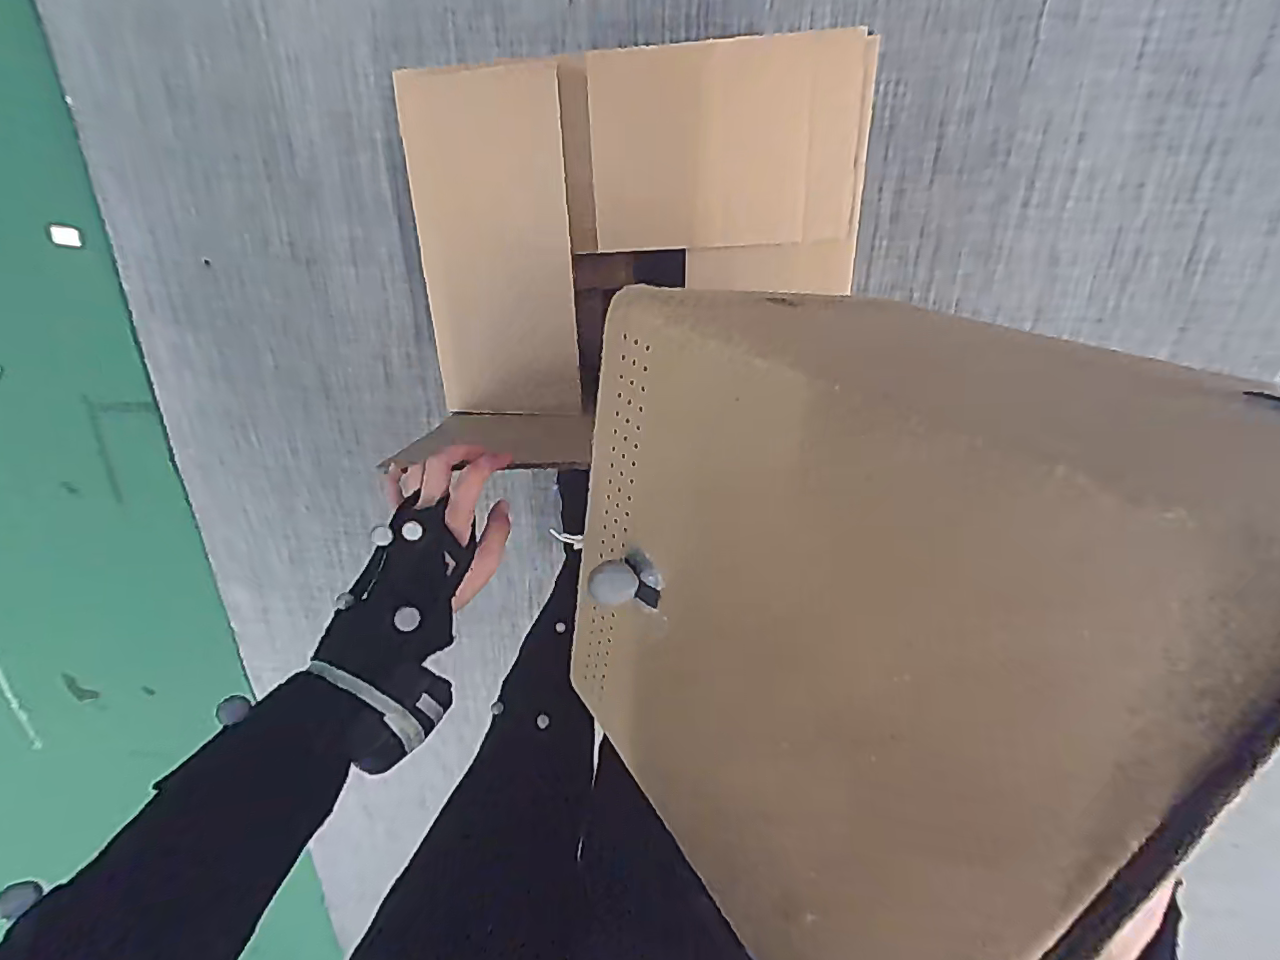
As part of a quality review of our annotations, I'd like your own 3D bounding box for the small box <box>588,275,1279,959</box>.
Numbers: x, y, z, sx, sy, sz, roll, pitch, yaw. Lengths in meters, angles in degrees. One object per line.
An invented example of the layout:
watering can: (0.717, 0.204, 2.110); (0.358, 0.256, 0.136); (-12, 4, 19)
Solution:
small box: (0.093, 0.035, 0.201); (0.168, 0.176, 0.179); (-10, 122, -33)
